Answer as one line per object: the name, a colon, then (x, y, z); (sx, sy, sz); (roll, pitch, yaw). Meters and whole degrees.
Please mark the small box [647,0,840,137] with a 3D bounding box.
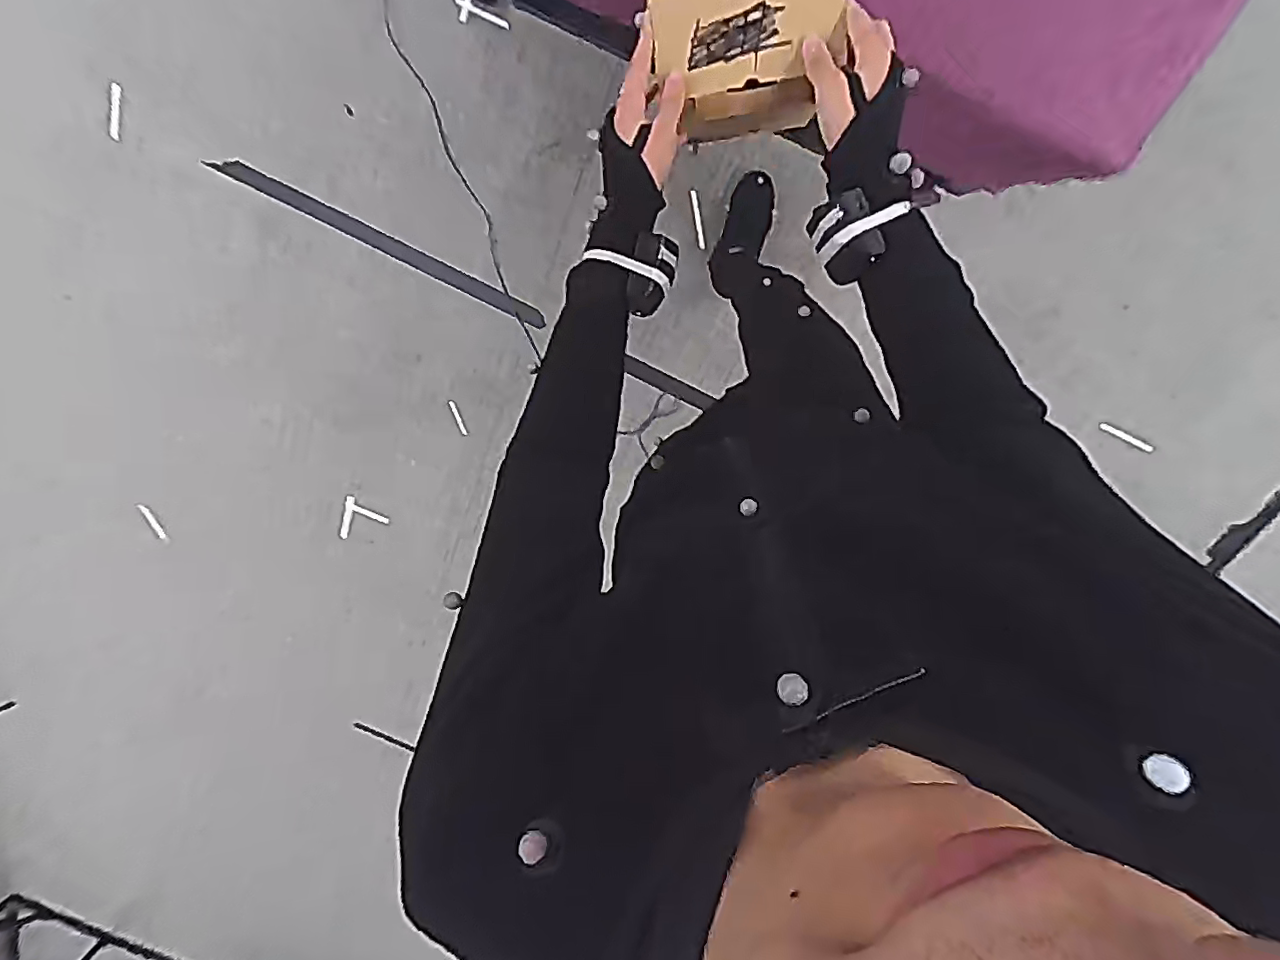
small box: (0.092, -0.462, 0.533); (0.168, 0.176, 0.179); (-6, 108, 6)
